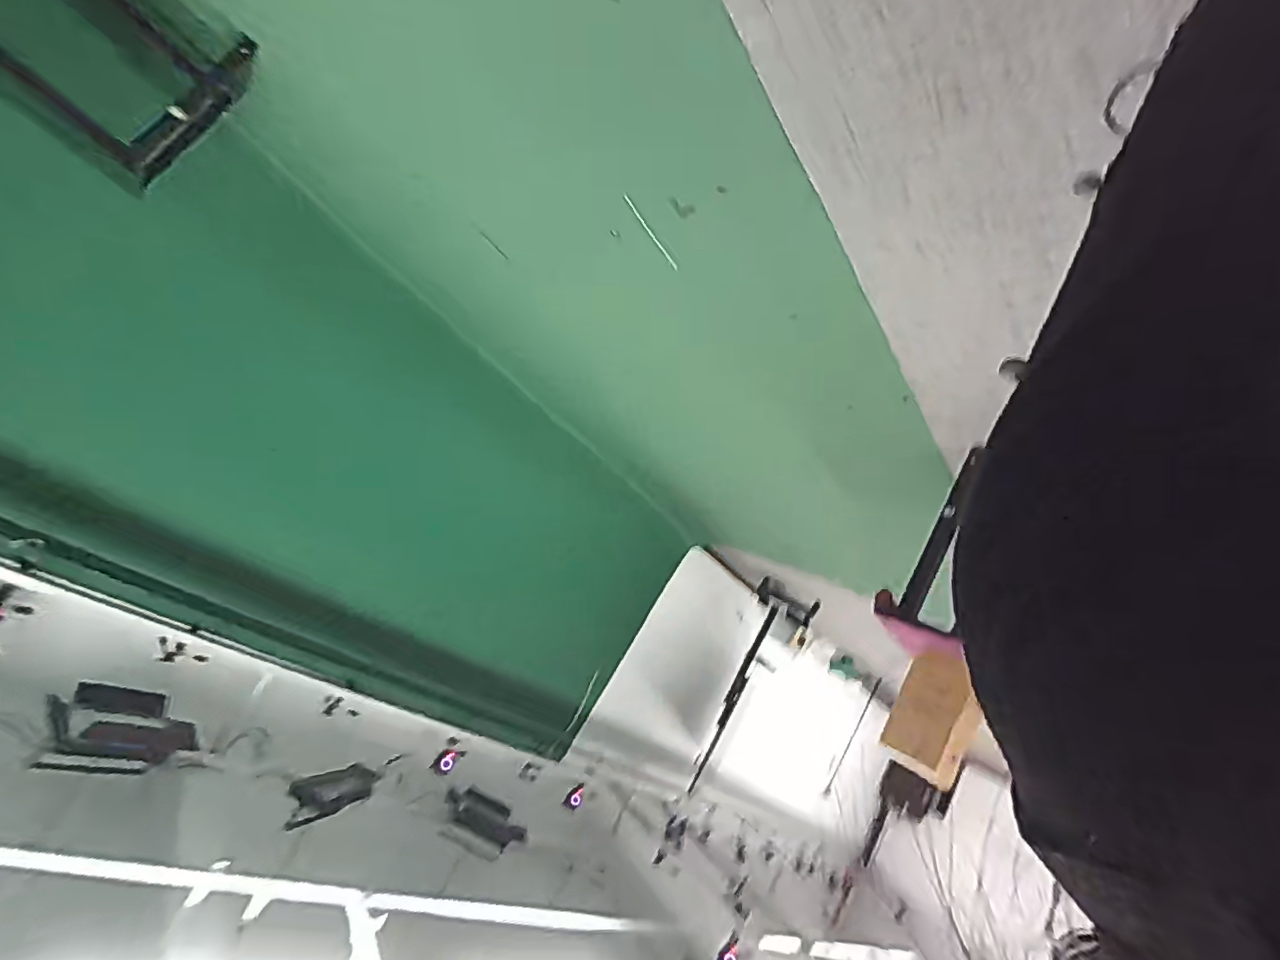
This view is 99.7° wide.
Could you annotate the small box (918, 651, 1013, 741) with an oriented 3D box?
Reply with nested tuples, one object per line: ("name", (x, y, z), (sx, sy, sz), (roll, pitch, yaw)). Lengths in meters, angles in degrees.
("small box", (0.972, 0.634, 1.611), (0.168, 0.176, 0.179), (43, 162, -33))

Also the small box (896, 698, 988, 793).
("small box", (0.885, 0.769, 1.576), (0.179, 0.176, 0.168), (42, 162, -34))
